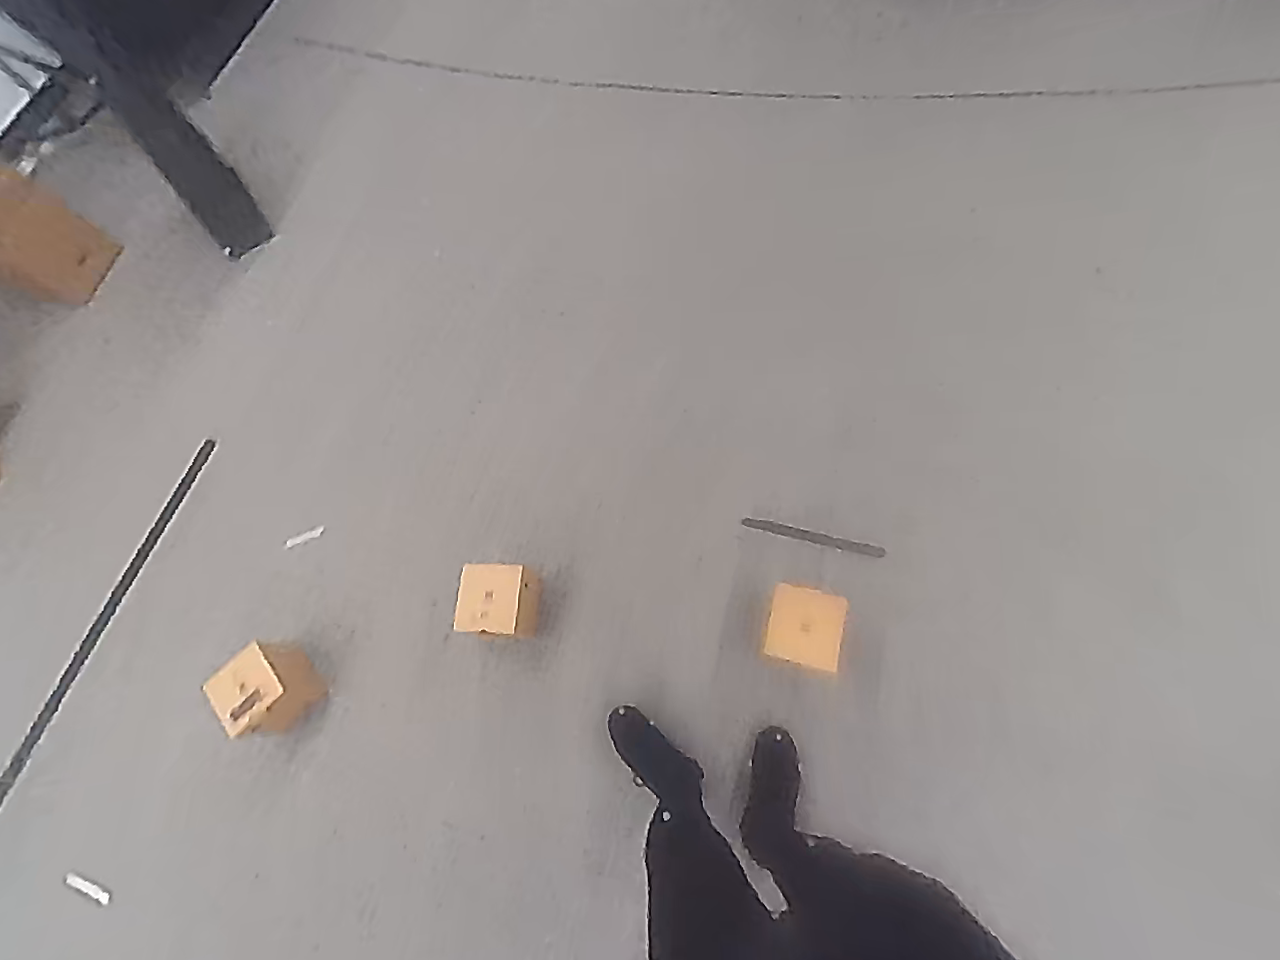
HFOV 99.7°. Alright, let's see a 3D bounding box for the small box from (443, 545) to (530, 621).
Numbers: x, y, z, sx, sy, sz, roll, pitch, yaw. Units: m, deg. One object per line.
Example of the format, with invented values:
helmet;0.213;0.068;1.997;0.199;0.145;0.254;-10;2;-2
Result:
small box;-0.406;0.282;1.464;0.168;0.176;0.179;1;72;7
